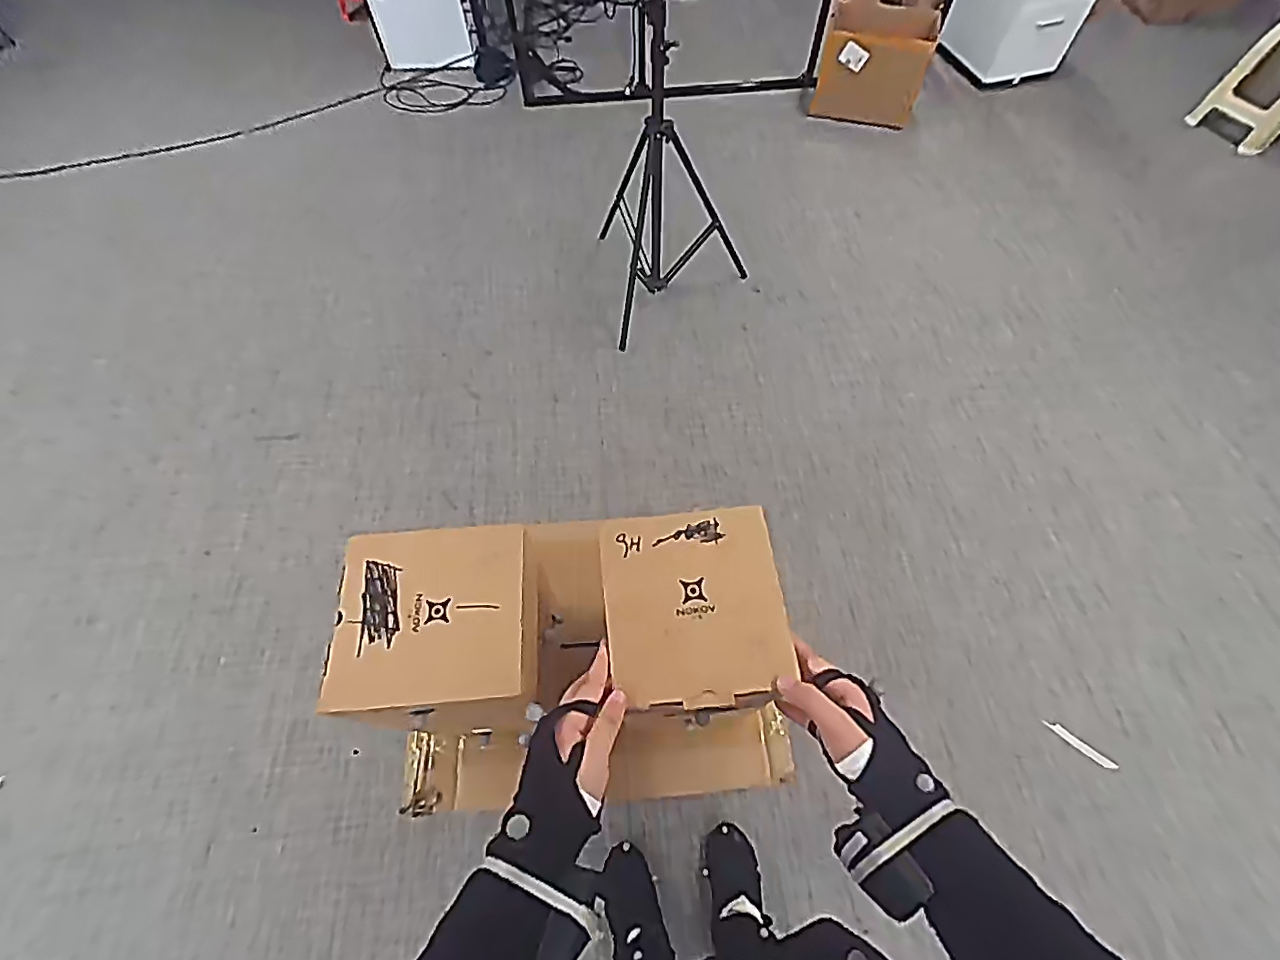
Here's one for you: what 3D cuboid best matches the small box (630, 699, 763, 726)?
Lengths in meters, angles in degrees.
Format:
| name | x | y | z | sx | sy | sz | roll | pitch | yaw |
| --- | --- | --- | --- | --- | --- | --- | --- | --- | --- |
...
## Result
| name | x | y | z | sx | sy | sz | roll | pitch | yaw |
| --- | --- | --- | --- | --- | --- | --- | --- | --- | --- |
| small box | 0.057 | 0.224 | 0.726 | 0.168 | 0.176 | 0.179 | -5 | 62 | 0 |

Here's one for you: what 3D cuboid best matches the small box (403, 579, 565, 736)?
| name | x | y | z | sx | sy | sz | roll | pitch | yaw |
| --- | --- | --- | --- | --- | --- | --- | --- | --- | --- |
| small box | -0.196 | 0.239 | 0.726 | 0.168 | 0.176 | 0.179 | -5 | 63 | -1 |

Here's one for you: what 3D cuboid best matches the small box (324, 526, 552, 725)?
| name | x | y | z | sx | sy | sz | roll | pitch | yaw |
| --- | --- | --- | --- | --- | --- | --- | --- | --- | --- |
| small box | -0.195 | 0.162 | 0.581 | 0.179 | 0.176 | 0.168 | -5 | 62 | -2 |

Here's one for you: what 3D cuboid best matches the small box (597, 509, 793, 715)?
| name | x | y | z | sx | sy | sz | roll | pitch | yaw |
| --- | --- | --- | --- | --- | --- | --- | --- | --- | --- |
| small box | 0.050 | 0.149 | 0.578 | 0.168 | 0.176 | 0.179 | -7 | 65 | -1 |
